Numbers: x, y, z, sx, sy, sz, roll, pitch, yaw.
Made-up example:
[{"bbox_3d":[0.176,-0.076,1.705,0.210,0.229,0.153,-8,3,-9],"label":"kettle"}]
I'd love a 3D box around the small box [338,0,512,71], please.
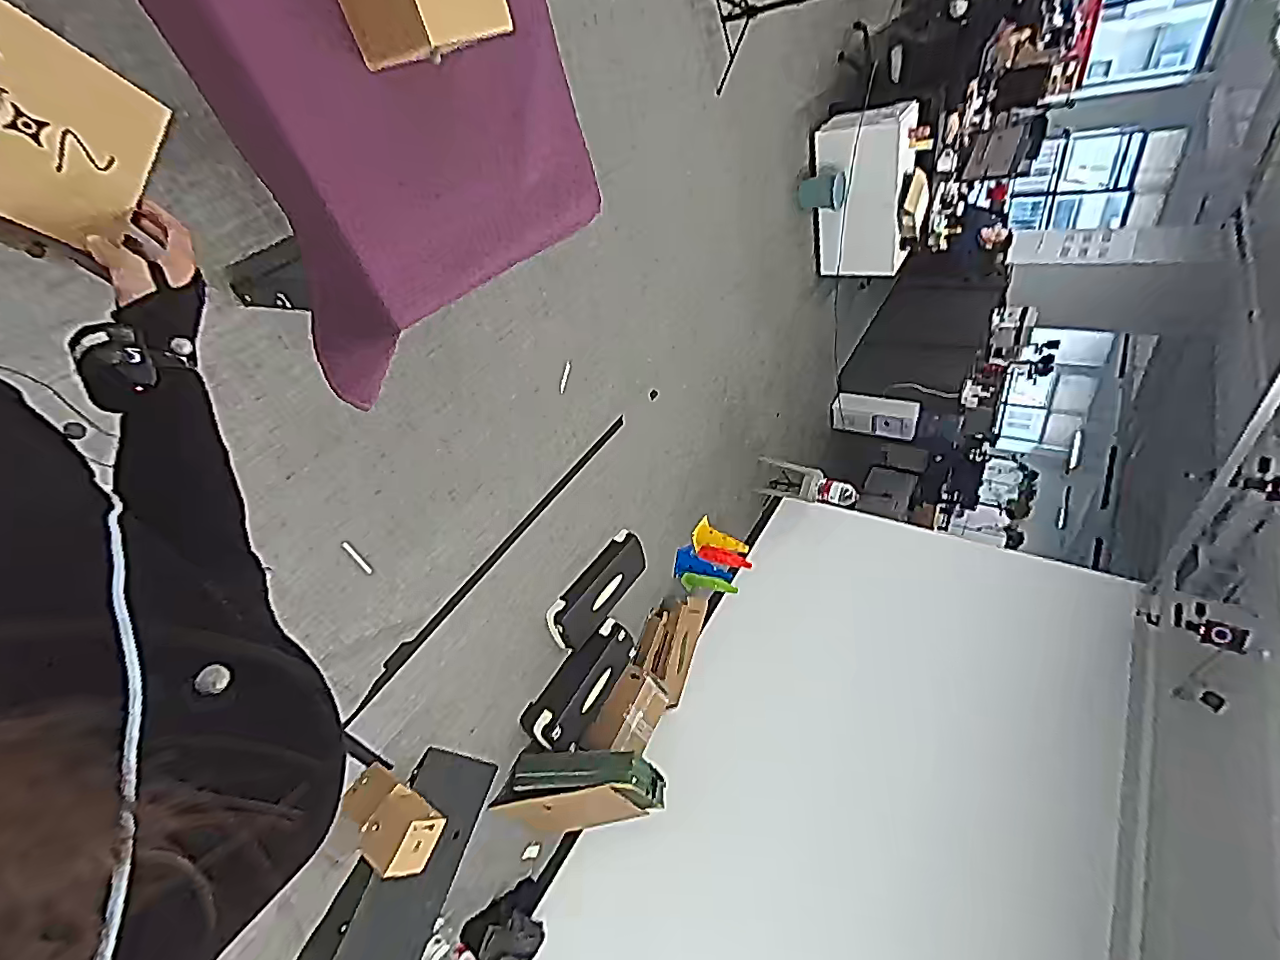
[{"bbox_3d":[-0.322,-0.712,0.774,0.168,0.176,0.179,-48,138,-34],"label":"small box"}]
